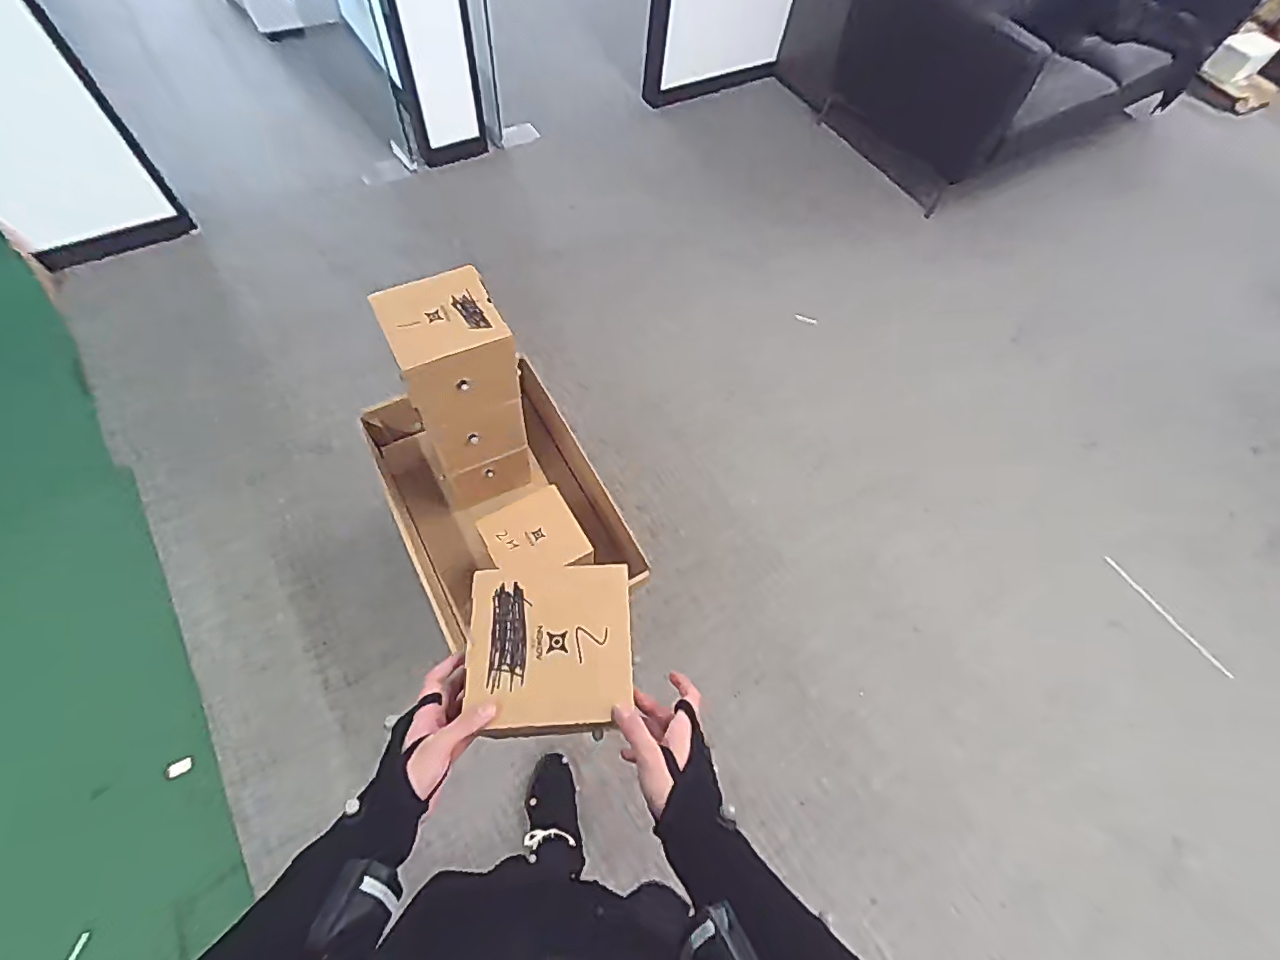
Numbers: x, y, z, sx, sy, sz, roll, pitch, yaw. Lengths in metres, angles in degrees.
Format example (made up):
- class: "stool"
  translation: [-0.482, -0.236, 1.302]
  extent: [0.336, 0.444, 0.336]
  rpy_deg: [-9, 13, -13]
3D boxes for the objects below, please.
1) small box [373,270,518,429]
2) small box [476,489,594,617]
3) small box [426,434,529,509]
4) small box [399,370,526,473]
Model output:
- class: "small box"
  translation: [-0.314, -0.214, 0.908]
  extent: [0.179, 0.176, 0.168]
  rpy_deg: [-24, 69, -18]
- class: "small box"
  translation: [-0.211, 0.152, 1.098]
  extent: [0.179, 0.176, 0.168]
  rpy_deg: [-26, 68, -19]
- class: "small box"
  translation: [-0.357, -0.060, 1.195]
  extent: [0.179, 0.176, 0.168]
  rpy_deg: [-22, 68, -19]
- class: "small box"
  translation: [-0.336, -0.138, 1.053]
  extent: [0.179, 0.176, 0.168]
  rpy_deg: [-23, 69, -18]
